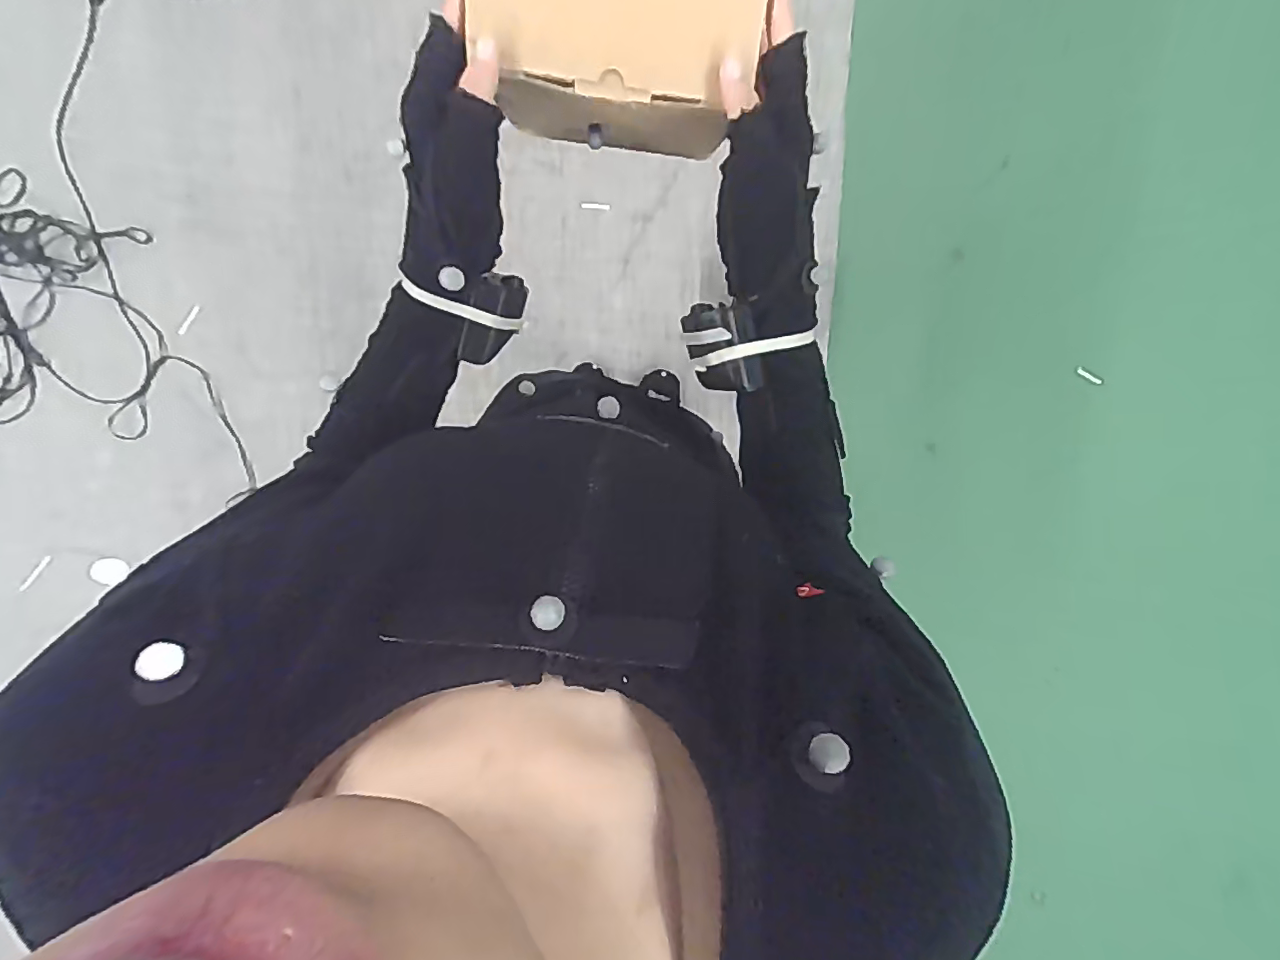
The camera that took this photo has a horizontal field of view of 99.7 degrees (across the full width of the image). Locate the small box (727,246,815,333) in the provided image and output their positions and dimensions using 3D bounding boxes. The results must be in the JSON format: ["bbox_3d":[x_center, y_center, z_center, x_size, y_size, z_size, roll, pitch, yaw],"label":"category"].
[{"bbox_3d":[0.310,-0.455,1.314,0.168,0.176,0.179,2,101,-1],"label":"small box"}]

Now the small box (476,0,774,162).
[{"bbox_3d":[-0.006,-0.332,0.356,0.168,0.176,0.179,5,112,-4],"label":"small box"}]
